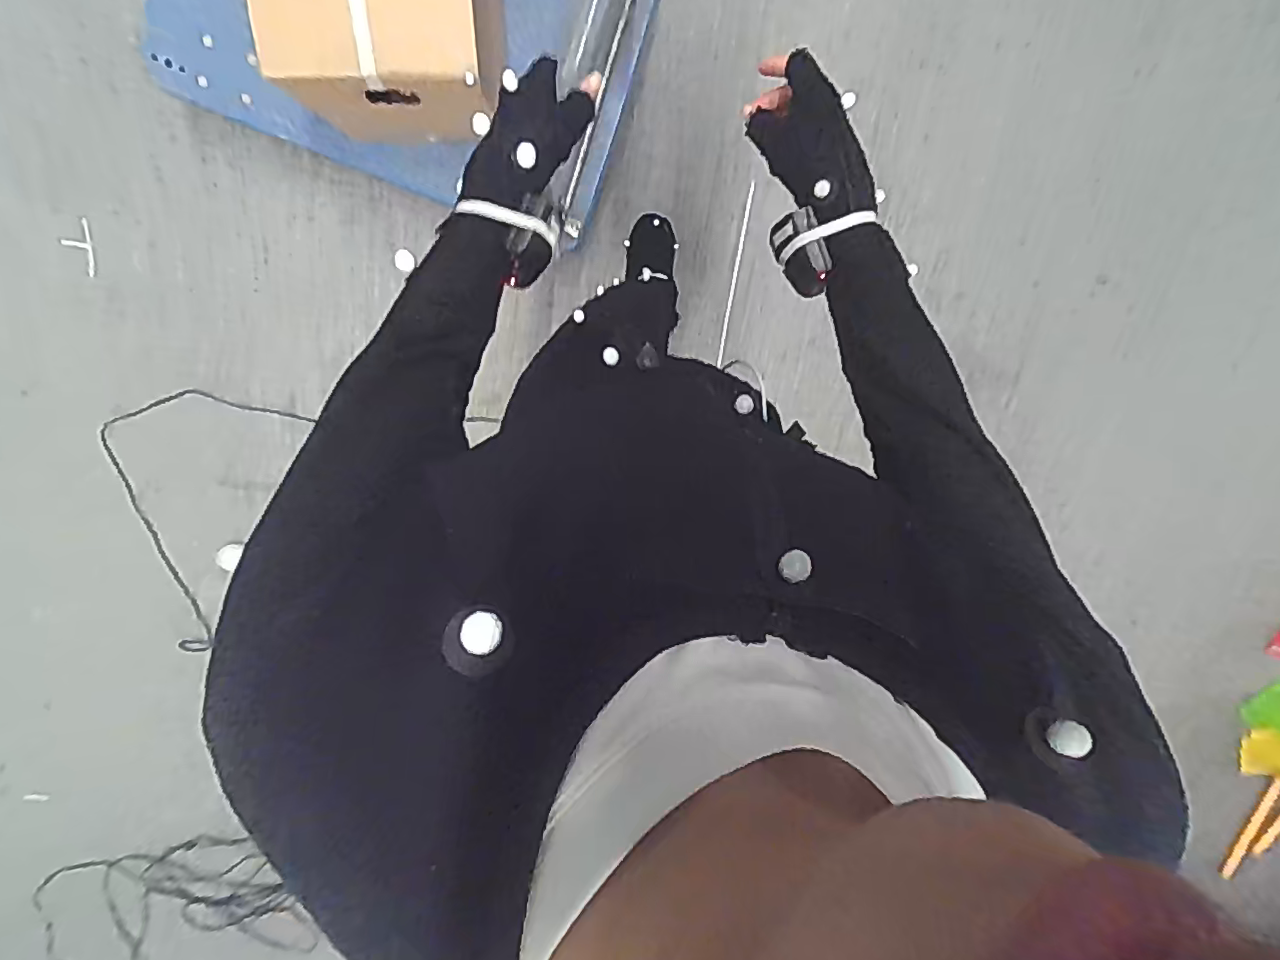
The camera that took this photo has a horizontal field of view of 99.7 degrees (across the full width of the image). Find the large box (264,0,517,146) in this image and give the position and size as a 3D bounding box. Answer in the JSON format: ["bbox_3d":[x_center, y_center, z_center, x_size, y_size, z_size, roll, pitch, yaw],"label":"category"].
[{"bbox_3d":[-0.397,-0.821,0.892,0.320,0.320,0.408,-2,108,-2],"label":"large box"}]
